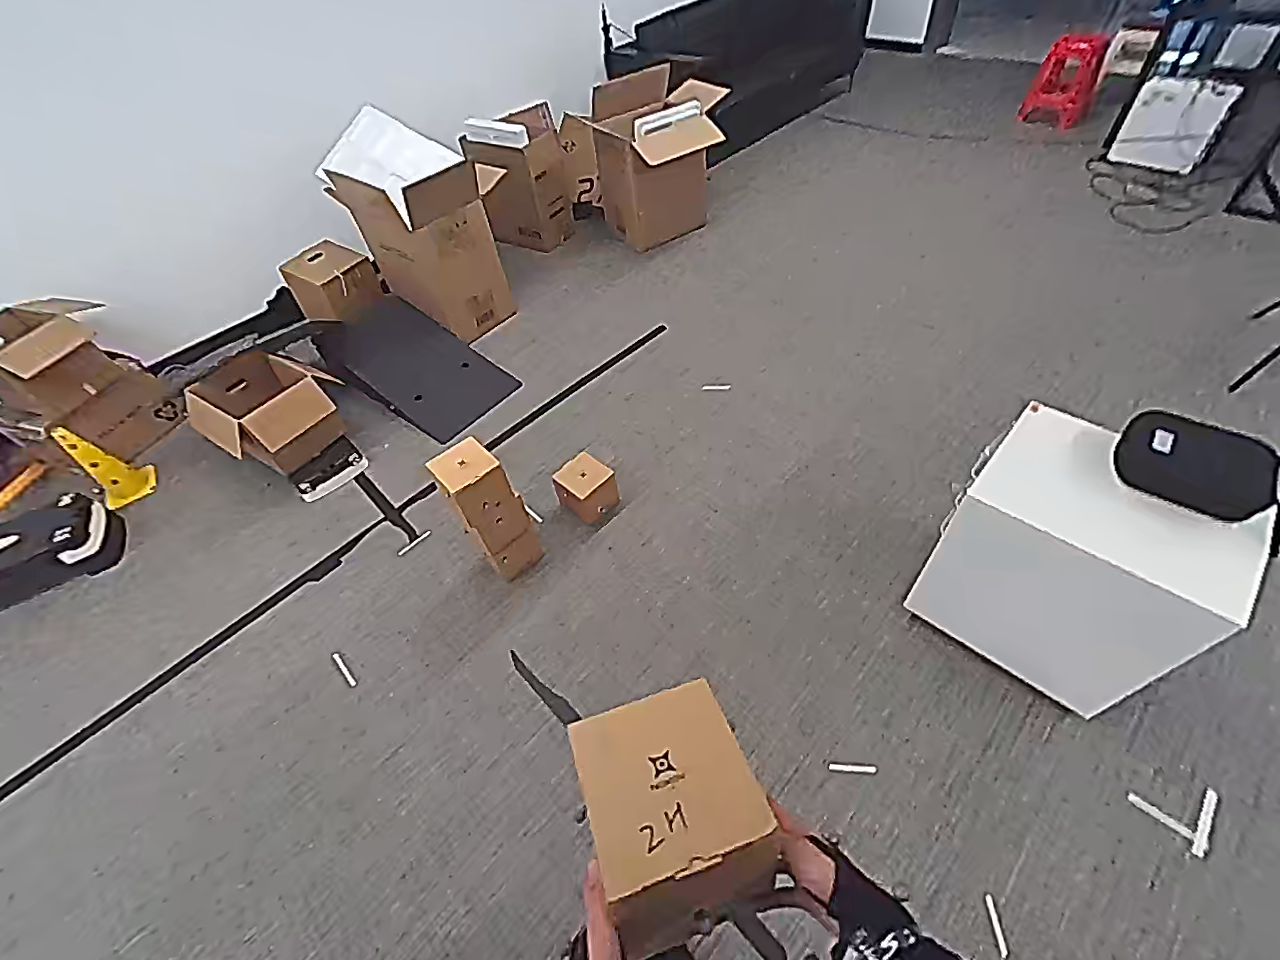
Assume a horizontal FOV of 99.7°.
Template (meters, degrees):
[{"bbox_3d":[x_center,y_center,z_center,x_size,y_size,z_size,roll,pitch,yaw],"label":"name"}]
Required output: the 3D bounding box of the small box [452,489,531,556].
[{"bbox_3d":[-0.487,0.118,1.782,0.168,0.176,0.179,34,60,31],"label":"small box"}]

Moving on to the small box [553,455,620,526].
[{"bbox_3d":[-0.198,0.042,2.033,0.179,0.176,0.168,33,62,29],"label":"small box"}]

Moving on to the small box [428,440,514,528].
[{"bbox_3d":[-0.515,0.014,1.659,0.168,0.176,0.179,-37,55,-24],"label":"small box"}]

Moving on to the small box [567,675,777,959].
[{"bbox_3d":[0.028,0.351,0.577,0.168,0.176,0.179,-15,35,-11],"label":"small box"}]
